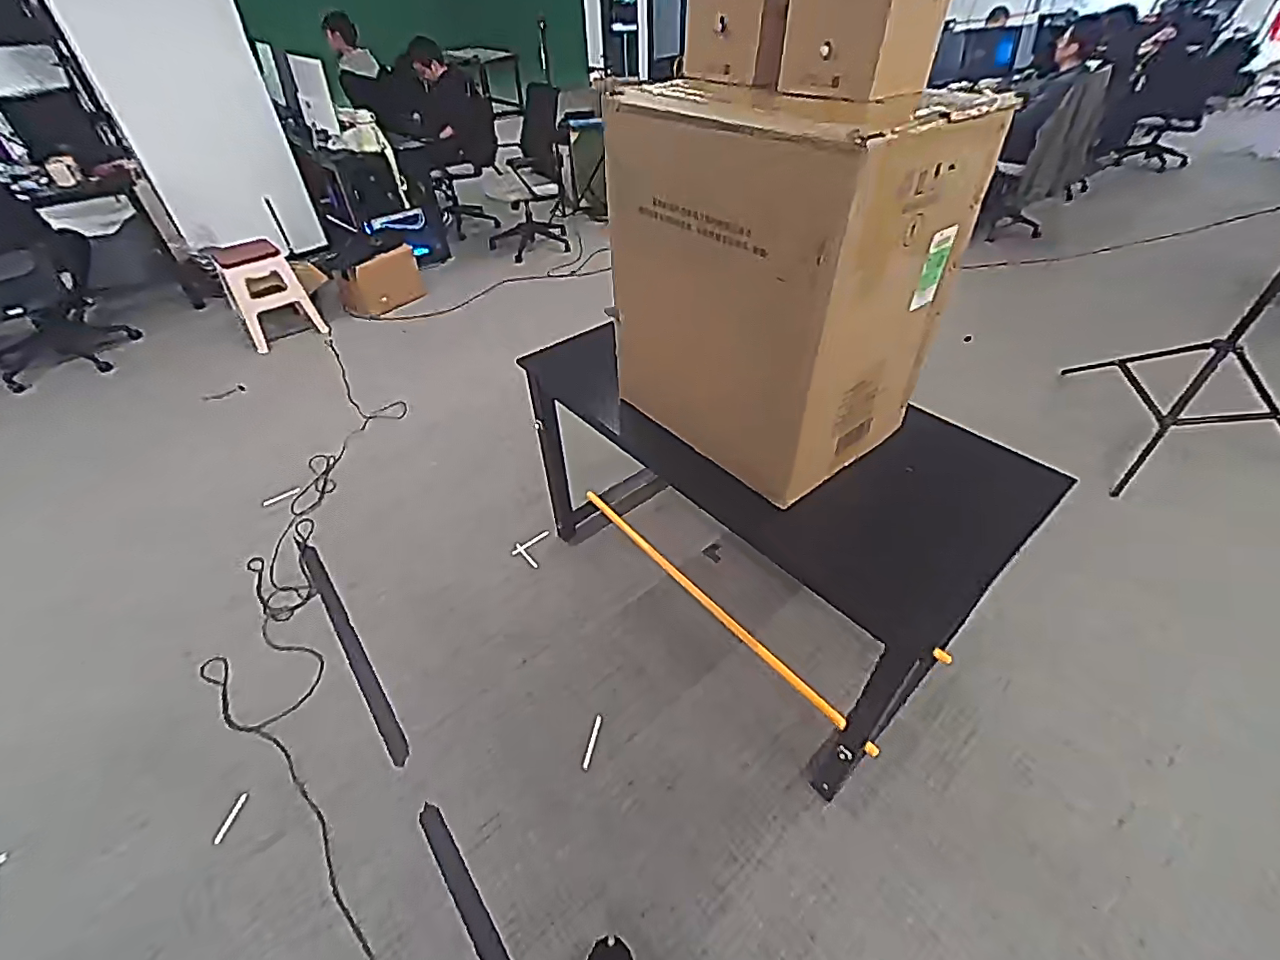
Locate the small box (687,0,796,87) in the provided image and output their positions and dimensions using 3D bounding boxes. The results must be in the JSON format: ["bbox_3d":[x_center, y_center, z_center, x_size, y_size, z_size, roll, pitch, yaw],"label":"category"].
[{"bbox_3d":[0.195,-0.802,0.943,0.179,0.176,0.168,-34,53,-30],"label":"small box"}]

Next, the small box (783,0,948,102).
[{"bbox_3d":[0.336,-0.683,0.810,0.179,0.176,0.168,-31,50,-30],"label":"small box"}]
